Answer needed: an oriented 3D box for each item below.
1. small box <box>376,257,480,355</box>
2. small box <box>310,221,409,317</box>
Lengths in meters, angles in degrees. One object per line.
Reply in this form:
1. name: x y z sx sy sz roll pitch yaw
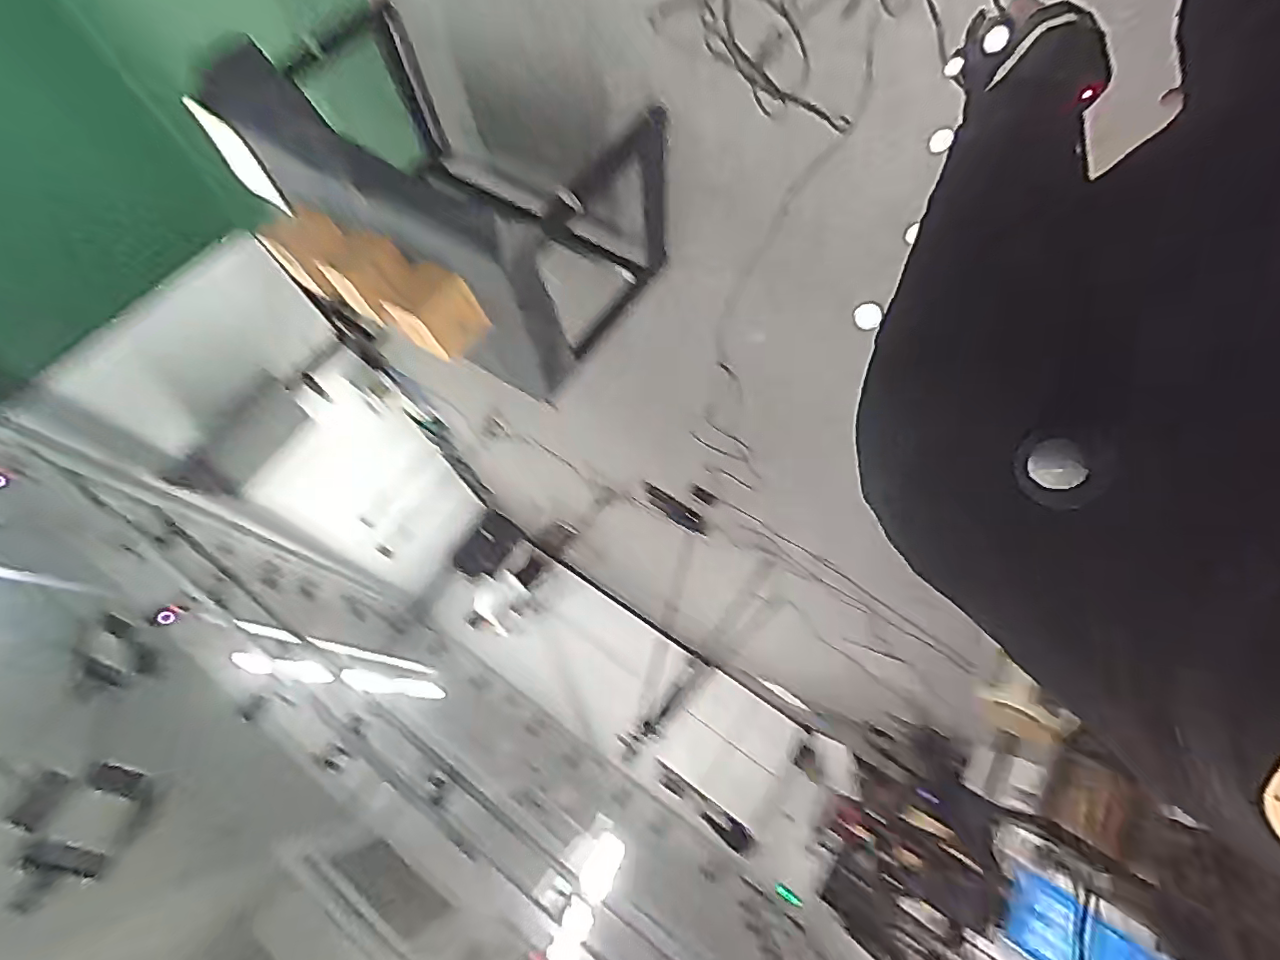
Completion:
1. small box: -0.564 -0.477 1.471 0.179 0.176 0.168 28 160 27
2. small box: -0.786 -0.610 1.554 0.168 0.176 0.179 29 161 25
